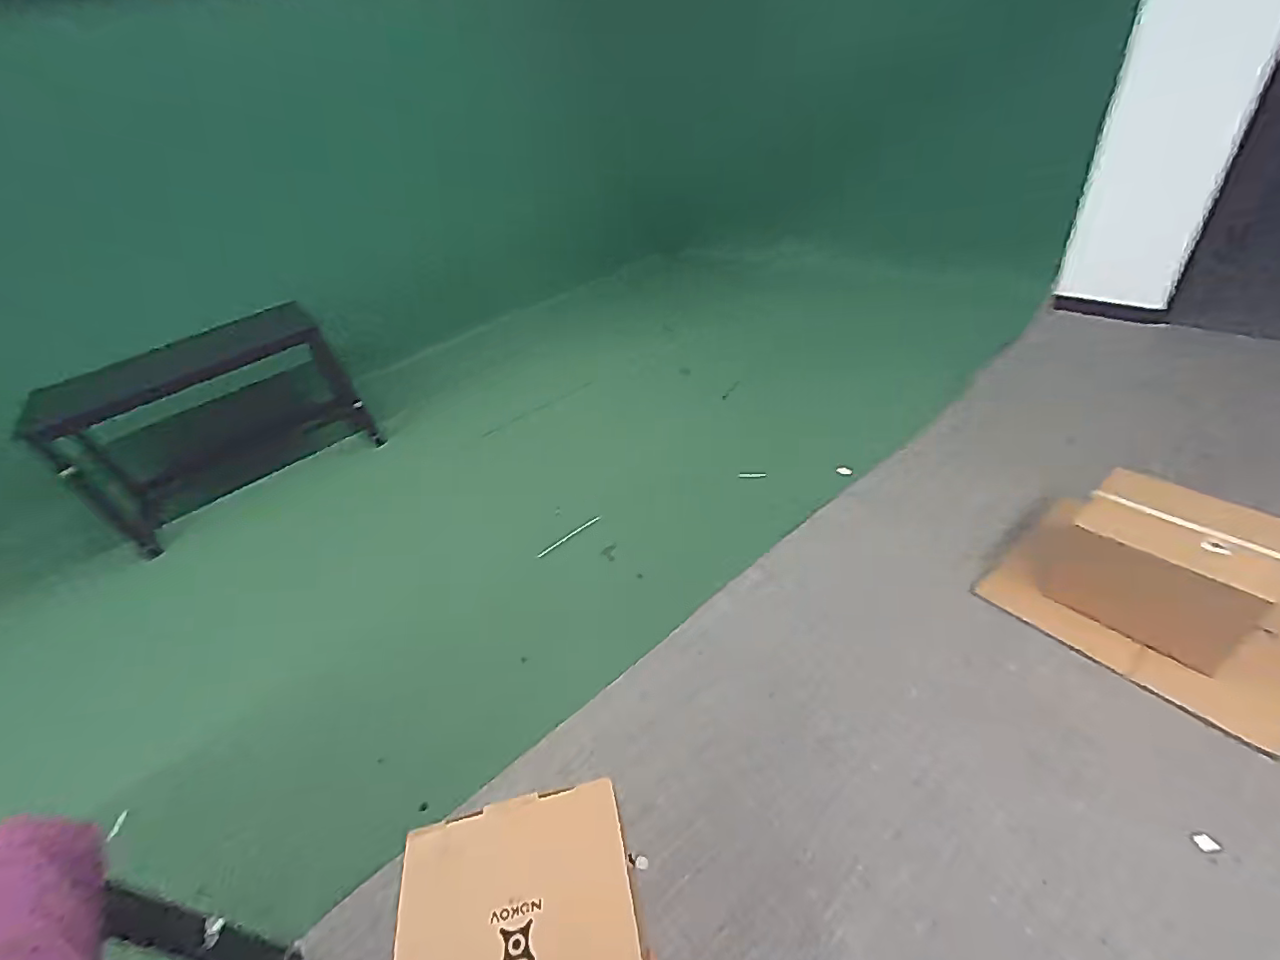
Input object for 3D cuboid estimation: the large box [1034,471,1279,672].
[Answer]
[{"bbox_3d":[1.420,0.239,1.501,0.320,0.320,0.408,-34,45,-24],"label":"large box"}]
